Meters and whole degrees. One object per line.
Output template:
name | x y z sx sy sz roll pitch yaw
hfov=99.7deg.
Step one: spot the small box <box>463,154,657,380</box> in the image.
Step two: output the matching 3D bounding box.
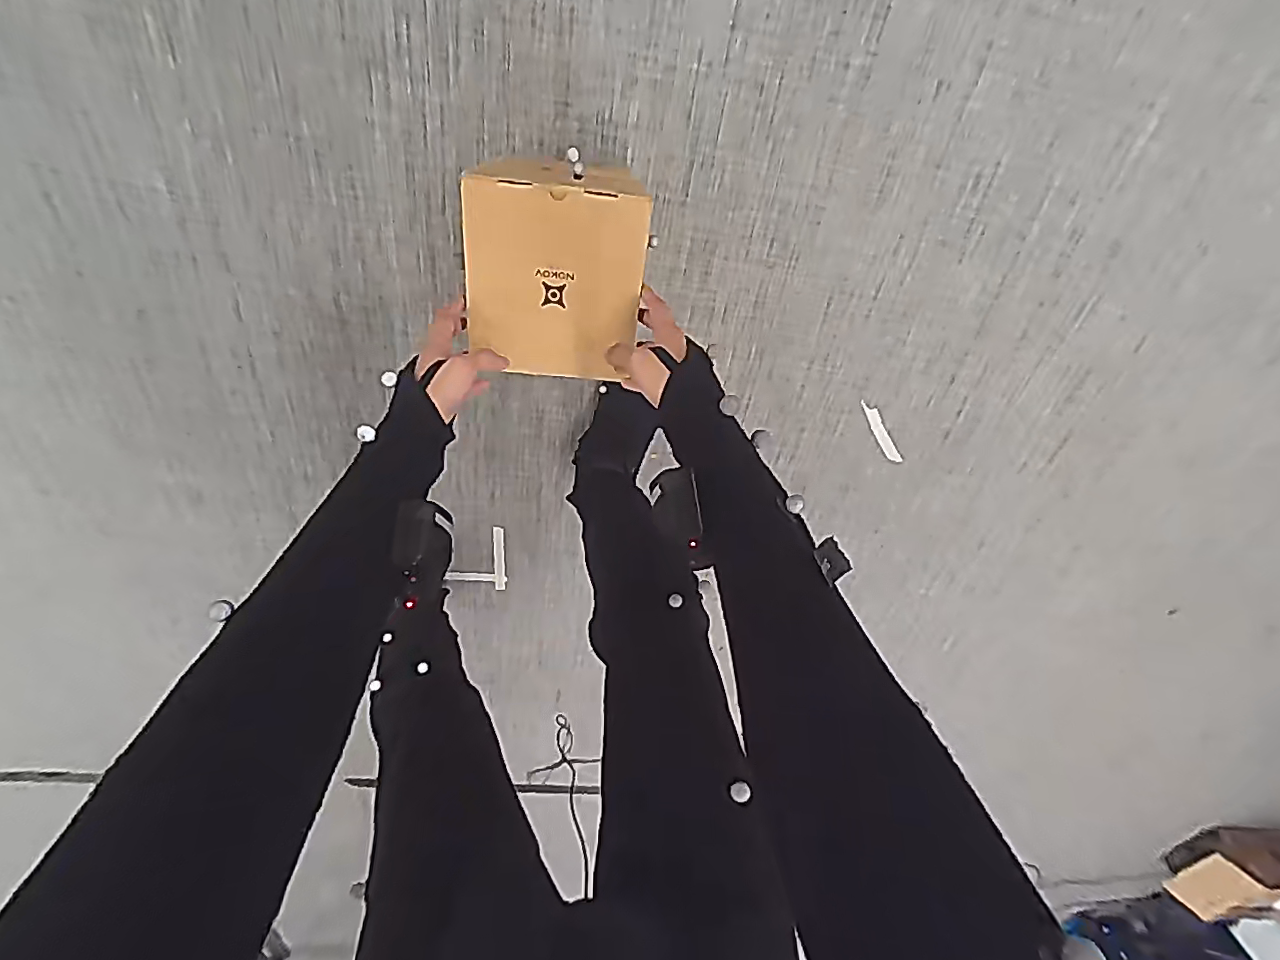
small box | -0.080 -0.224 0.561 0.168 0.176 0.179 4 123 -7
